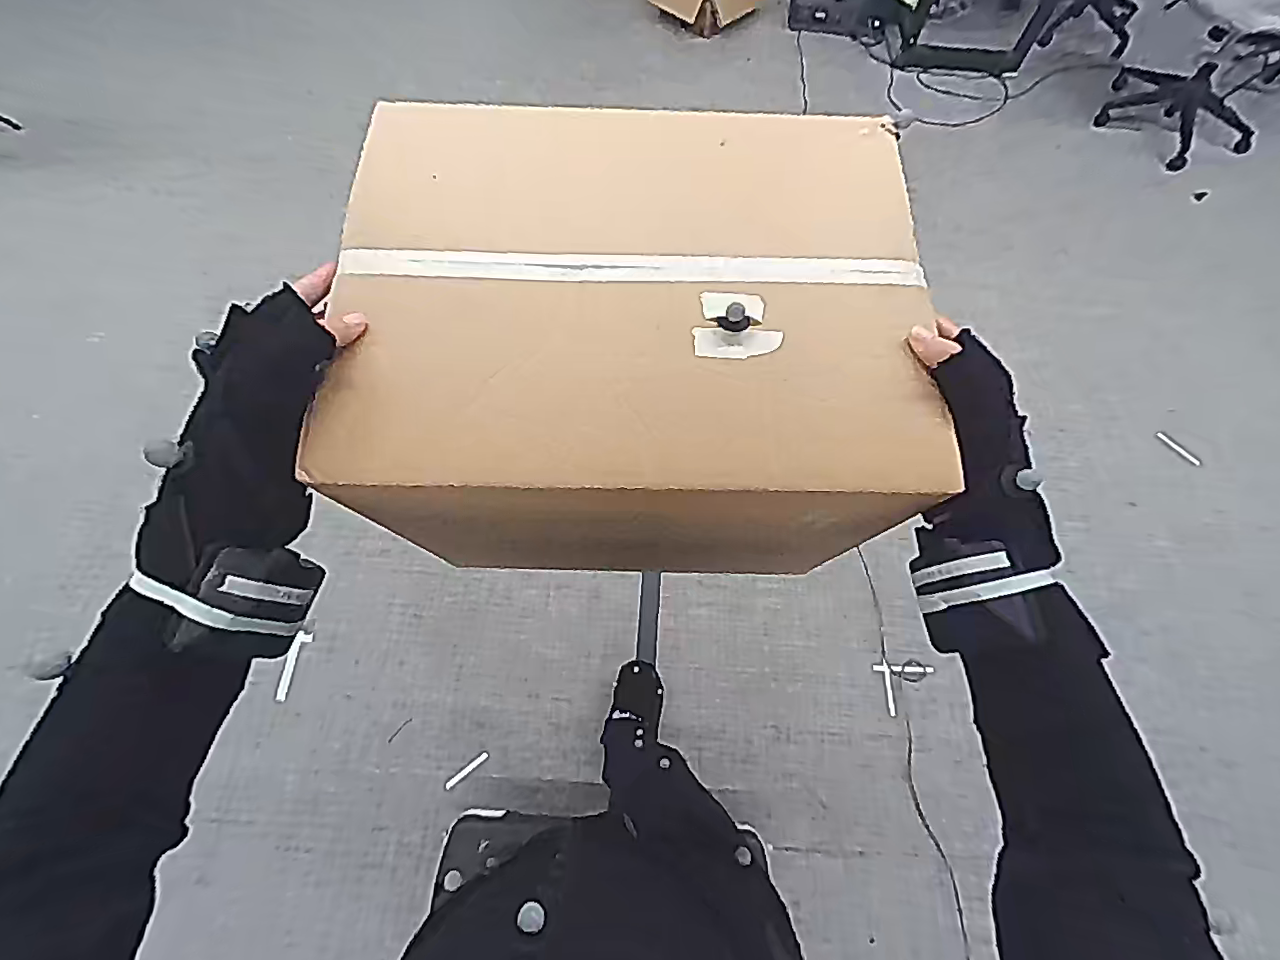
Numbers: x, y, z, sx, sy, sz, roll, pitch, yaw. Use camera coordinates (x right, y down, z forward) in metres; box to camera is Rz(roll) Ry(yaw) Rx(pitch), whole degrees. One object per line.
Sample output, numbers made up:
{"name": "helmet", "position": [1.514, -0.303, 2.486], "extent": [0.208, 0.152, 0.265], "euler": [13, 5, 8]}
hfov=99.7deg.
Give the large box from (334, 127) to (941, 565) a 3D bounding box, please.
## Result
{"name": "large box", "position": [-0.004, -0.096, 0.538], "extent": [0.408, 0.320, 0.320], "euler": [1, 71, -1]}
